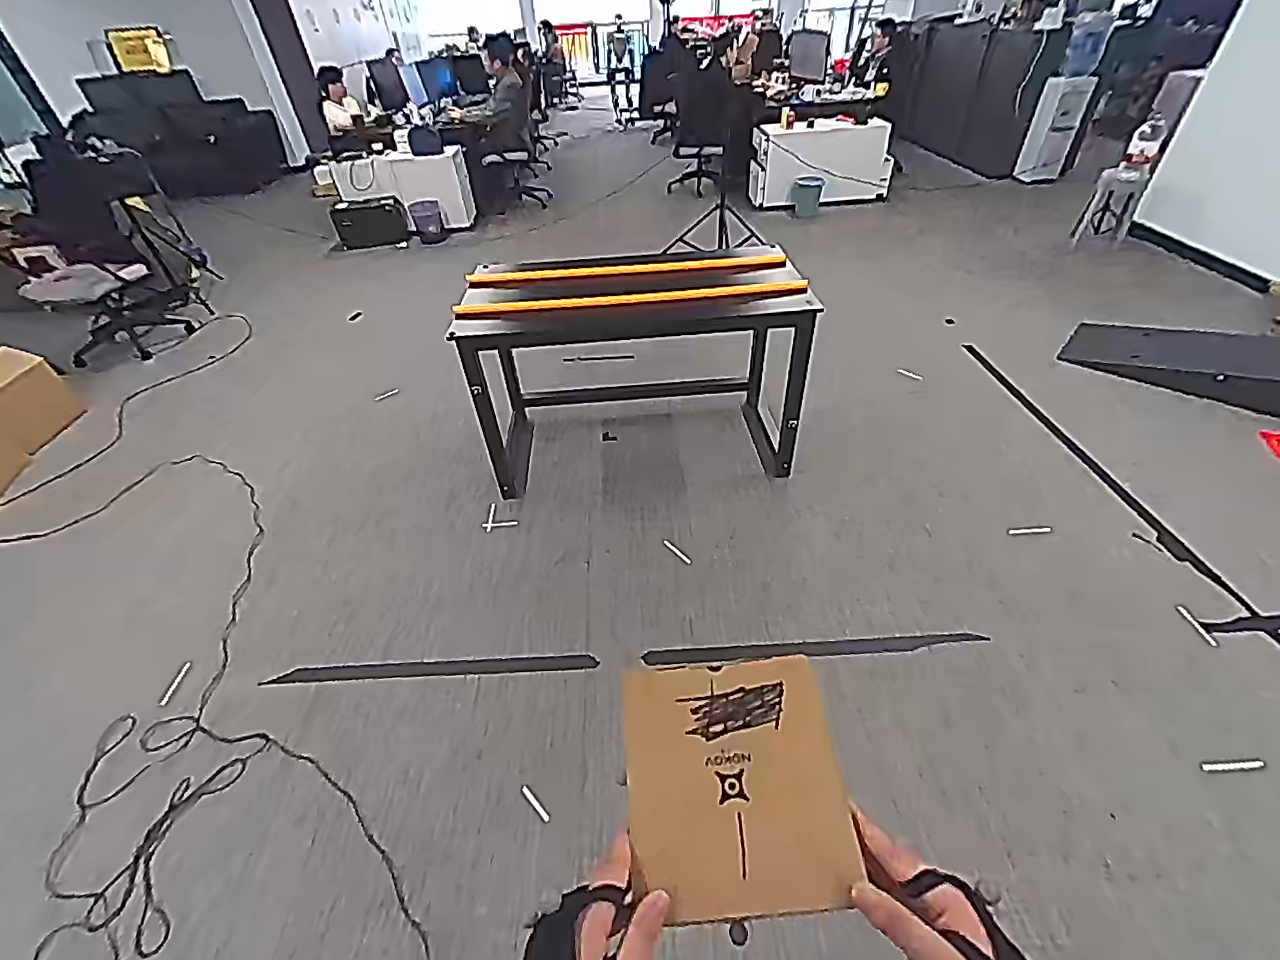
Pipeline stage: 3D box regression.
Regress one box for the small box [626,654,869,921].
[{"bbox_3d":[0.078,0.278,0.485,0.168,0.176,0.179,-6,51,2],"label":"small box"}]
